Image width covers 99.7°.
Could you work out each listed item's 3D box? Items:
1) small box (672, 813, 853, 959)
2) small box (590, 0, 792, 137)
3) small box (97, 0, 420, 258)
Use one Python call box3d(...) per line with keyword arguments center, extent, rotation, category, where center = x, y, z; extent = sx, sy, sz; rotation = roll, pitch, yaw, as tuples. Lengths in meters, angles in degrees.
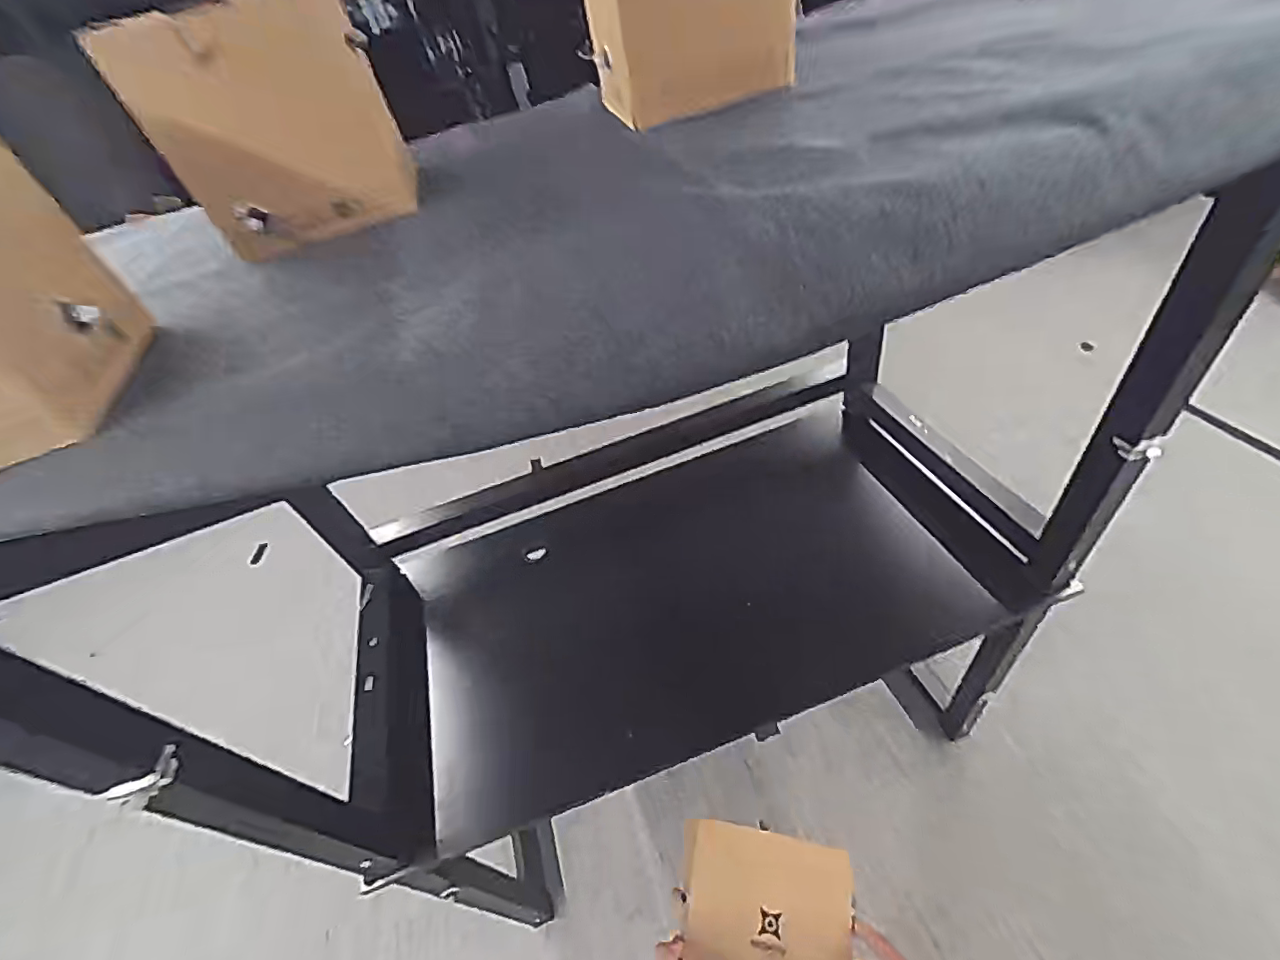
box3d(center=(0.127, 0.489, 0.599), extent=(0.168, 0.176, 0.179), rotation=(8, 57, 7), category="small box")
box3d(center=(0.047, -0.487, 0.561), extent=(0.179, 0.176, 0.168), rotation=(-19, 44, -2), category="small box")
box3d(center=(-0.322, -0.330, 0.507), extent=(0.168, 0.176, 0.179), rotation=(-20, 44, -5), category="small box")
